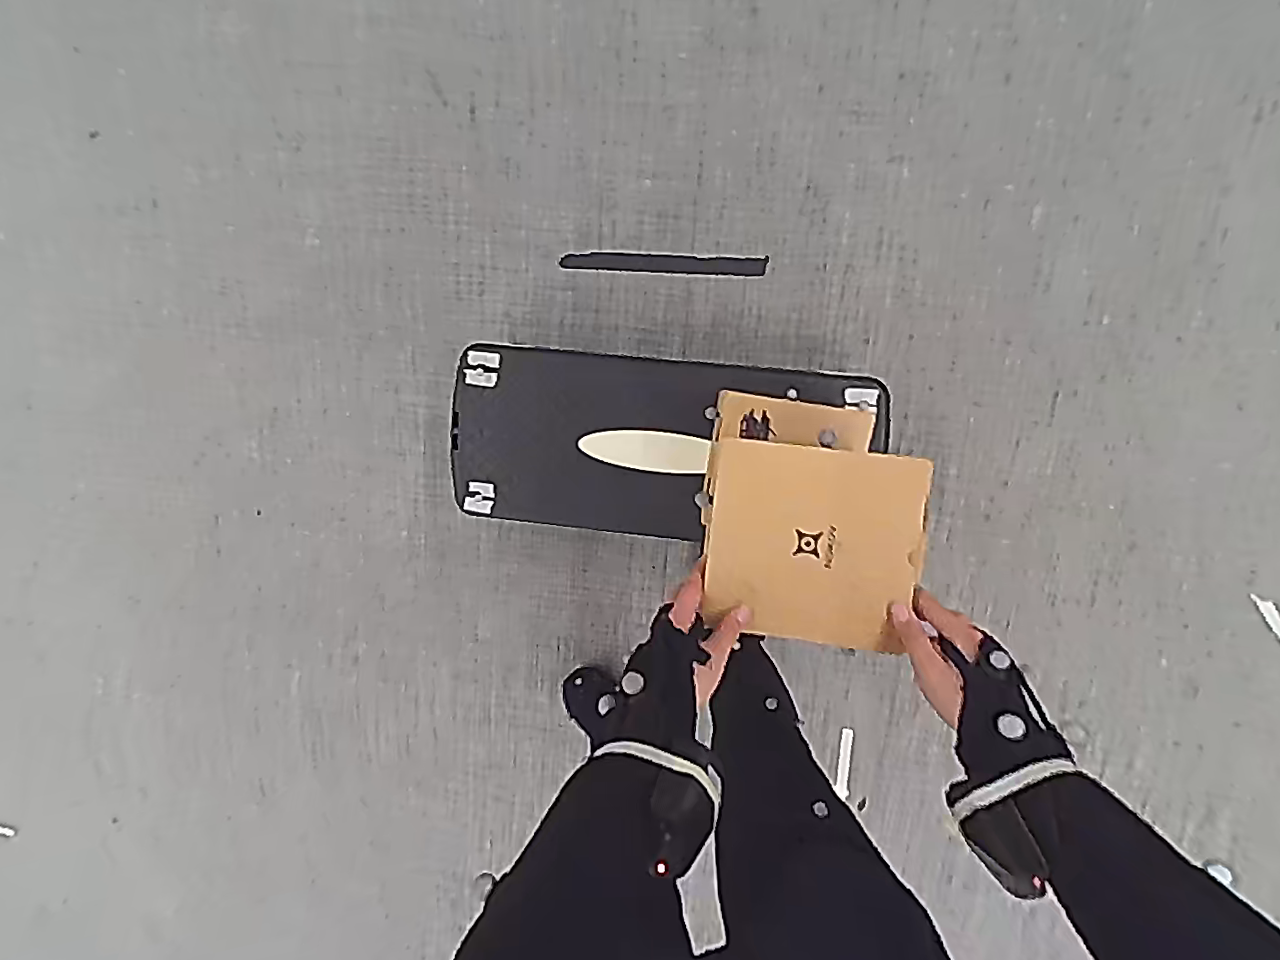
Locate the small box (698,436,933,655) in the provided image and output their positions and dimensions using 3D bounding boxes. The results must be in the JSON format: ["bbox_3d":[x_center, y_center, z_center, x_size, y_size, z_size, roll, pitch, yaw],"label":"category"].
[{"bbox_3d":[0.152,0.053,0.529,0.179,0.176,0.168,7,92,5],"label":"small box"}]

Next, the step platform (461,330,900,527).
[{"bbox_3d":[0.055,-0.079,0.900,0.684,0.204,0.286,6,100,6],"label":"step platform"}]
